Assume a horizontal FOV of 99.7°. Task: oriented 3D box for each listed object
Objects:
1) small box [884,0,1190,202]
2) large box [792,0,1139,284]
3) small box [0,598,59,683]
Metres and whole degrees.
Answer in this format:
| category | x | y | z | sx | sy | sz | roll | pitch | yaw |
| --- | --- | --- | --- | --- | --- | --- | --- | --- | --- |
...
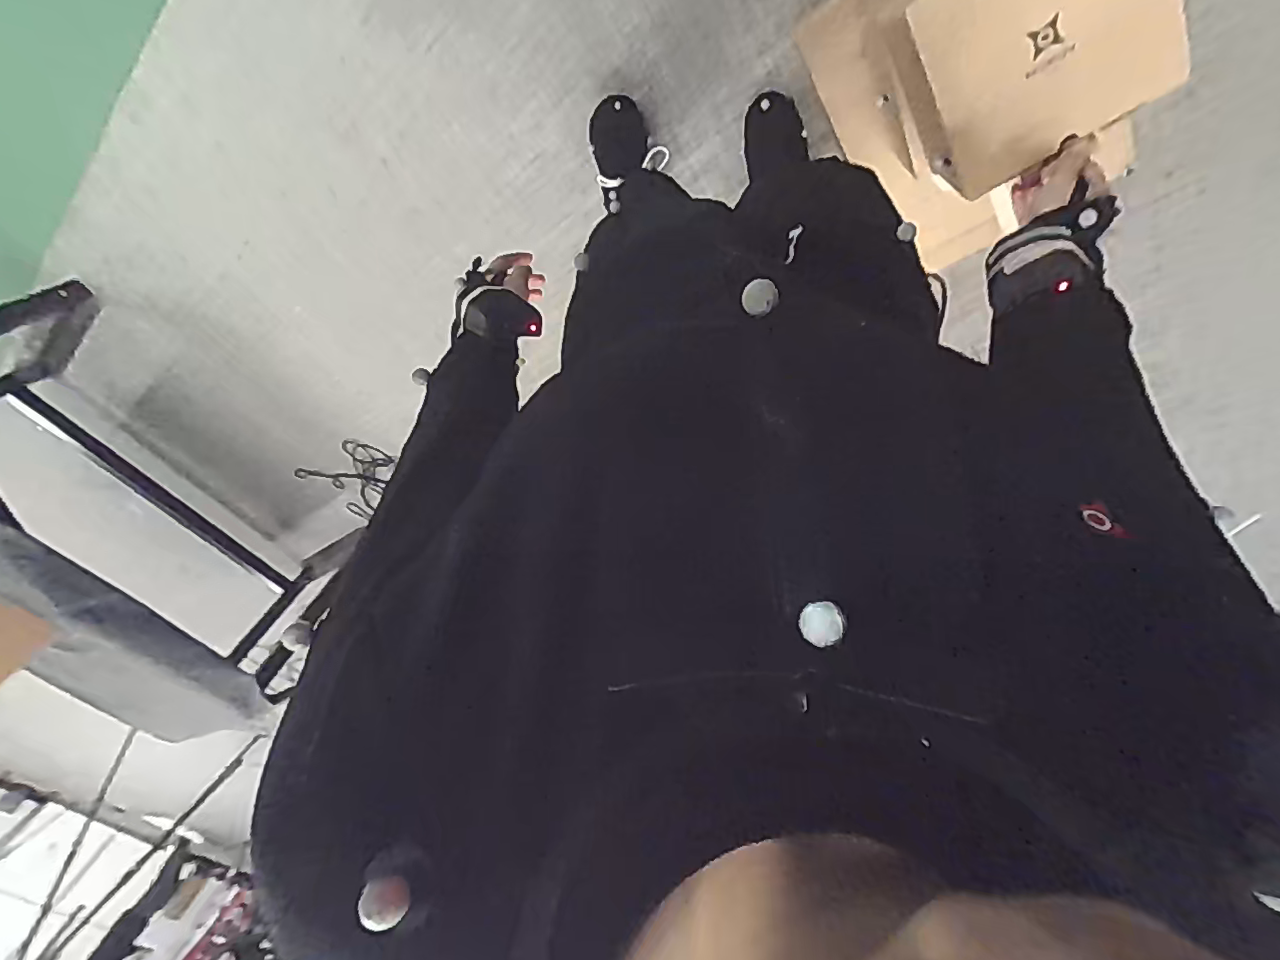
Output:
| category | x | y | z | sx | sy | sz | roll | pitch | yaw |
| --- | --- | --- | --- | --- | --- | --- | --- | --- | --- |
| small box | 0.345 | -0.399 | 0.499 | 0.168 | 0.176 | 0.179 | -24 | 120 | 30 |
| large box | 0.470 | -0.602 | 0.839 | 0.320 | 0.320 | 0.408 | -24 | 121 | 31 |
| small box | -1.617 | 0.398 | 1.324 | 0.168 | 0.176 | 0.179 | -15 | 125 | 26 |
